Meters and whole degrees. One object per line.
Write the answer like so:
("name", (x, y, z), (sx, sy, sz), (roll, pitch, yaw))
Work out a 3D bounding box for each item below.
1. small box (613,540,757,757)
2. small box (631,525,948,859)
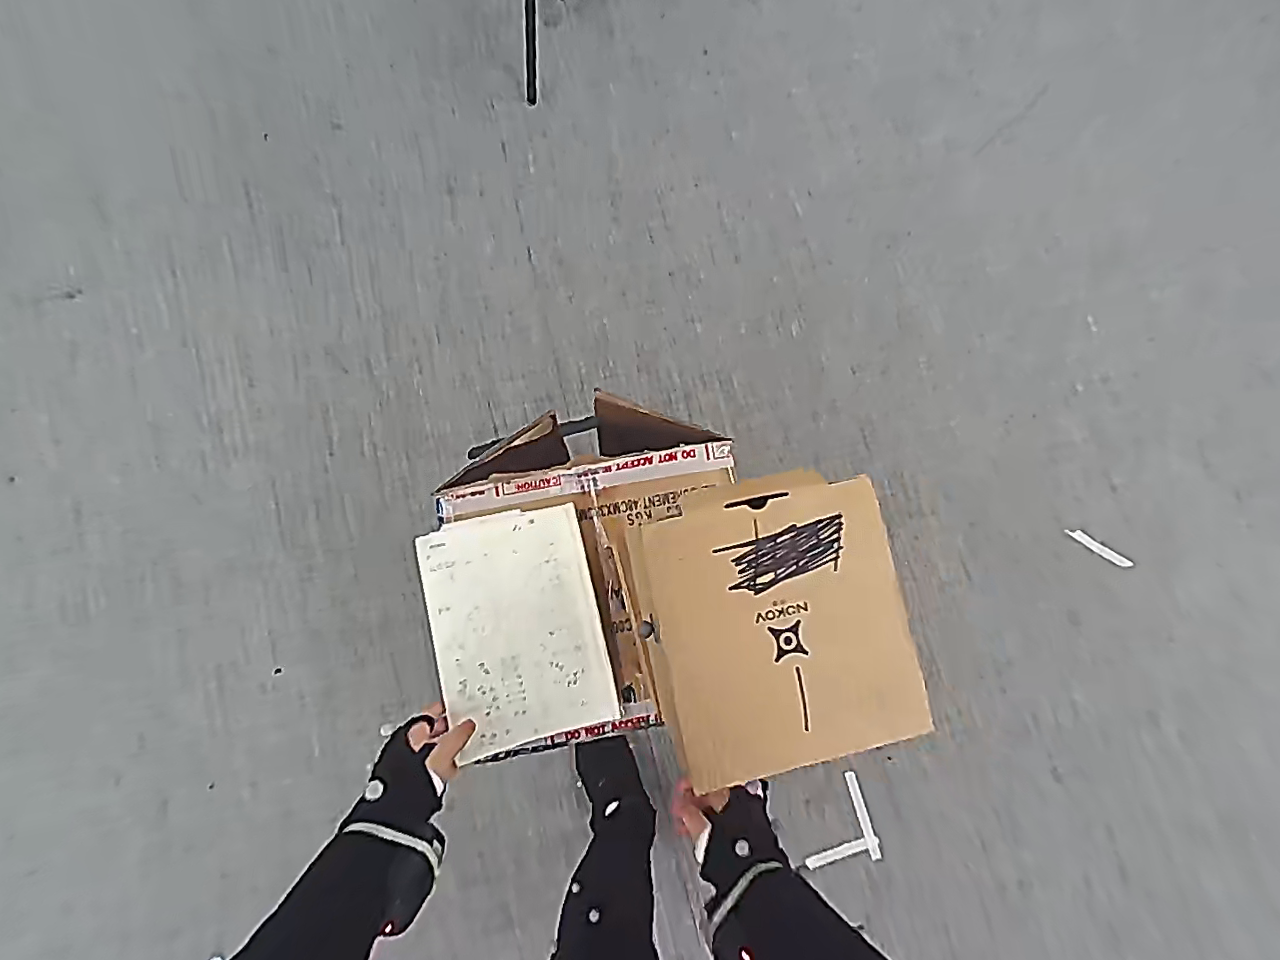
("small box", (0.075, 0.162, 0.582), (0.179, 0.176, 0.168), (-15, 84, -6))
("small box", (0.091, 0.139, 0.420), (0.168, 0.176, 0.179), (-11, 84, -6))
